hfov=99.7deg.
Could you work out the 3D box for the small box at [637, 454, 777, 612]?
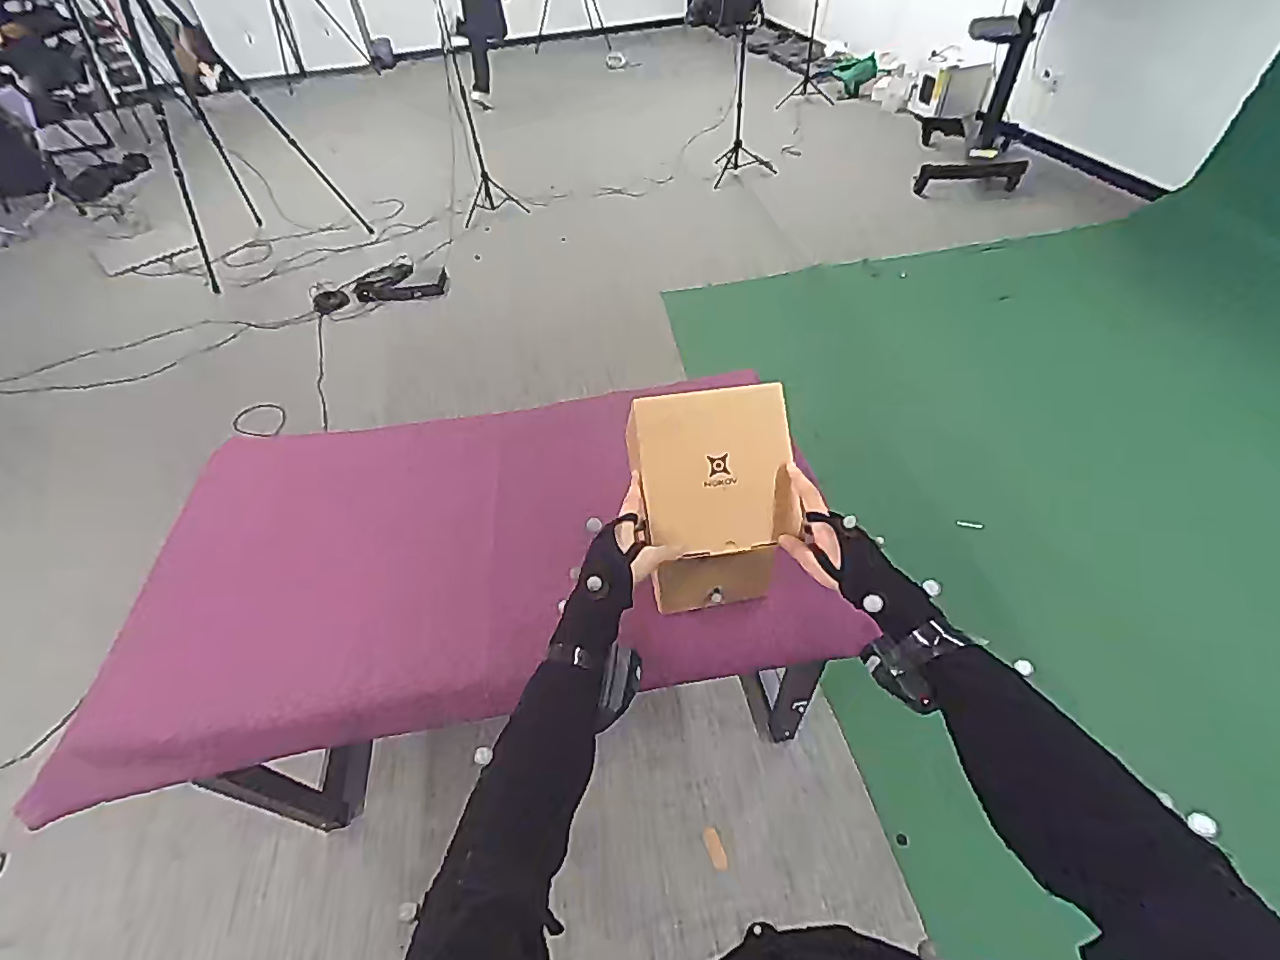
[{"bbox_3d":[0.097,0.085,0.845,0.179,0.176,0.168,-10,45,-3],"label":"small box"}]
